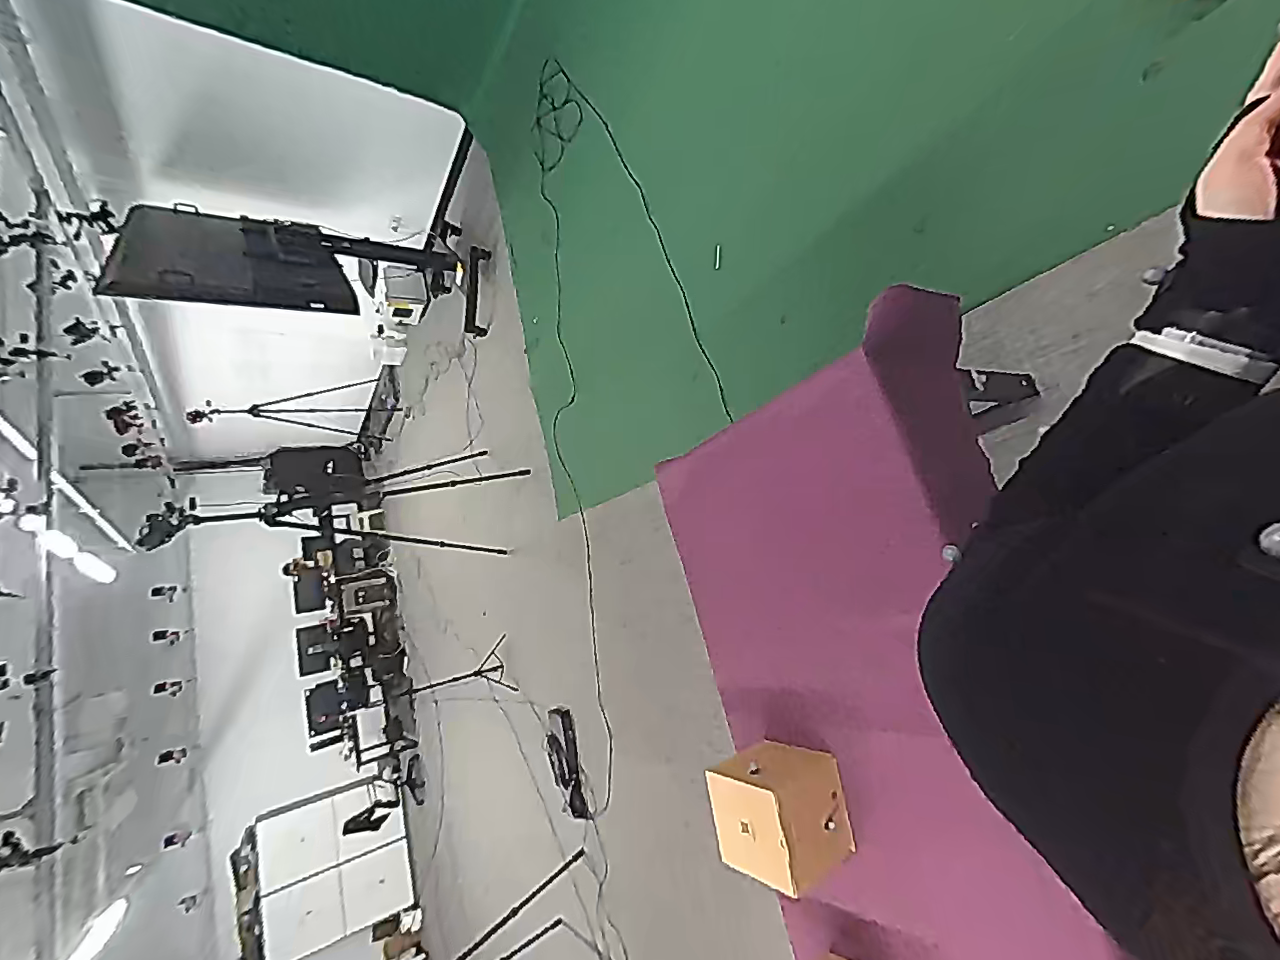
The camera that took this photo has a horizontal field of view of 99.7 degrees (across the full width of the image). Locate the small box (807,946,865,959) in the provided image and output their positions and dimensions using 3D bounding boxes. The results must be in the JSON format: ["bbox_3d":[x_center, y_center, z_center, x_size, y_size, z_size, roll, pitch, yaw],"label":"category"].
[{"bbox_3d":[0.348,0.930,0.899,0.179,0.176,0.168,-32,69,51],"label":"small box"}]

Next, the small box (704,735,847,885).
[{"bbox_3d":[0.248,0.591,0.999,0.179,0.176,0.168,-20,78,52],"label":"small box"}]
